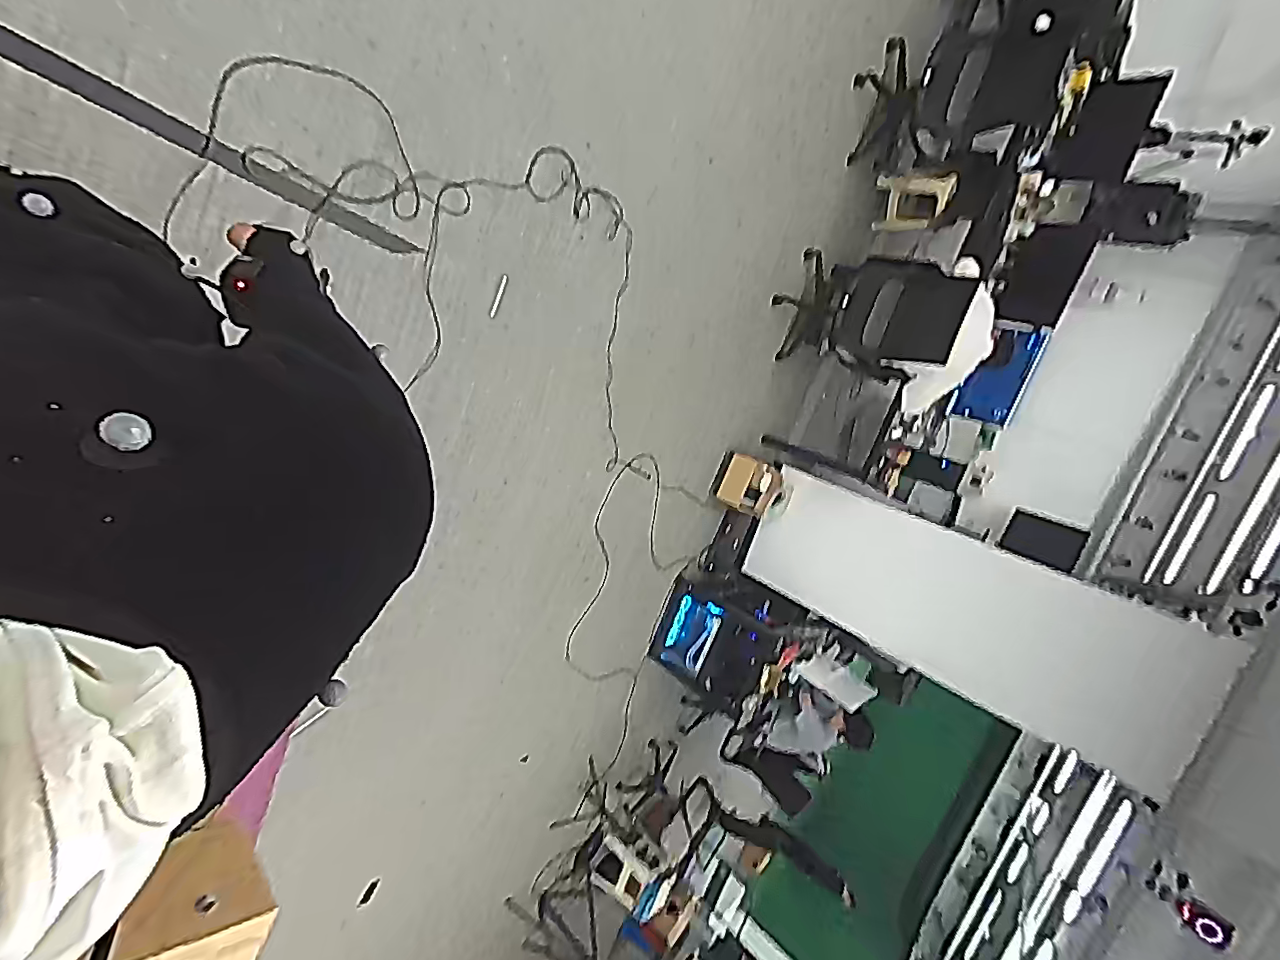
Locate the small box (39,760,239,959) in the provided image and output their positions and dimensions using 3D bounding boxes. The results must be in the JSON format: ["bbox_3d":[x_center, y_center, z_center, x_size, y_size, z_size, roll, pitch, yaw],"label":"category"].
[{"bbox_3d":[-0.748,0.559,0.809,0.168,0.176,0.179,28,88,-54],"label":"small box"}]

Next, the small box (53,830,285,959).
[{"bbox_3d":[-0.621,0.608,0.715,0.179,0.176,0.168,24,91,-54],"label":"small box"}]
